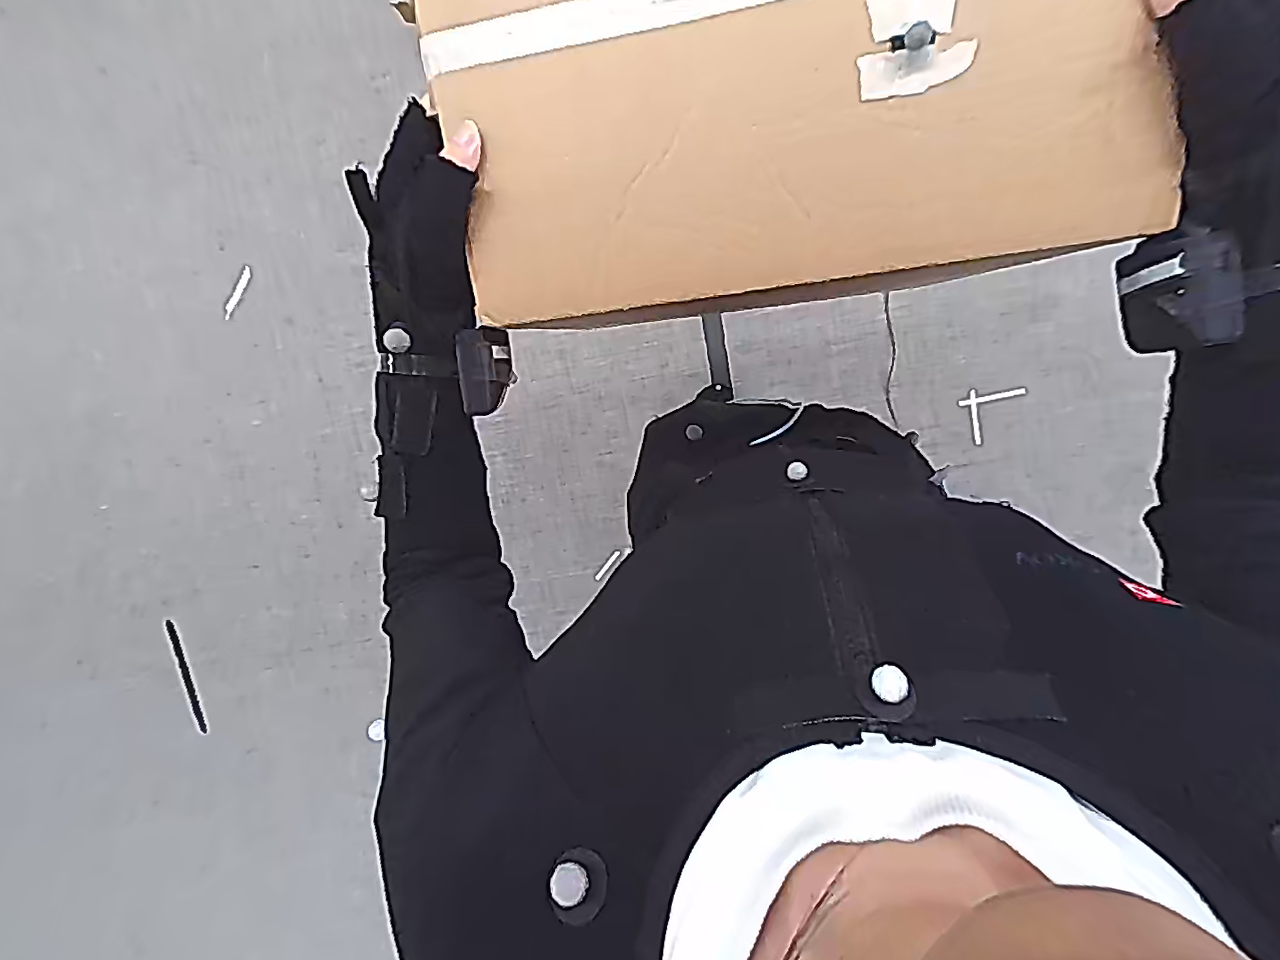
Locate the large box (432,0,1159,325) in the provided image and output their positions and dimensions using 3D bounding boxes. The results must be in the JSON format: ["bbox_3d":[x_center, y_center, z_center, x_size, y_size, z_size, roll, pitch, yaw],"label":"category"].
[{"bbox_3d":[0.089,-0.318,0.447,0.408,0.320,0.320,-6,105,8],"label":"large box"}]

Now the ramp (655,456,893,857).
[{"bbox_3d":[0.330,0.457,1.408,0.509,0.206,0.991,-9,96,10],"label":"ramp"}]
